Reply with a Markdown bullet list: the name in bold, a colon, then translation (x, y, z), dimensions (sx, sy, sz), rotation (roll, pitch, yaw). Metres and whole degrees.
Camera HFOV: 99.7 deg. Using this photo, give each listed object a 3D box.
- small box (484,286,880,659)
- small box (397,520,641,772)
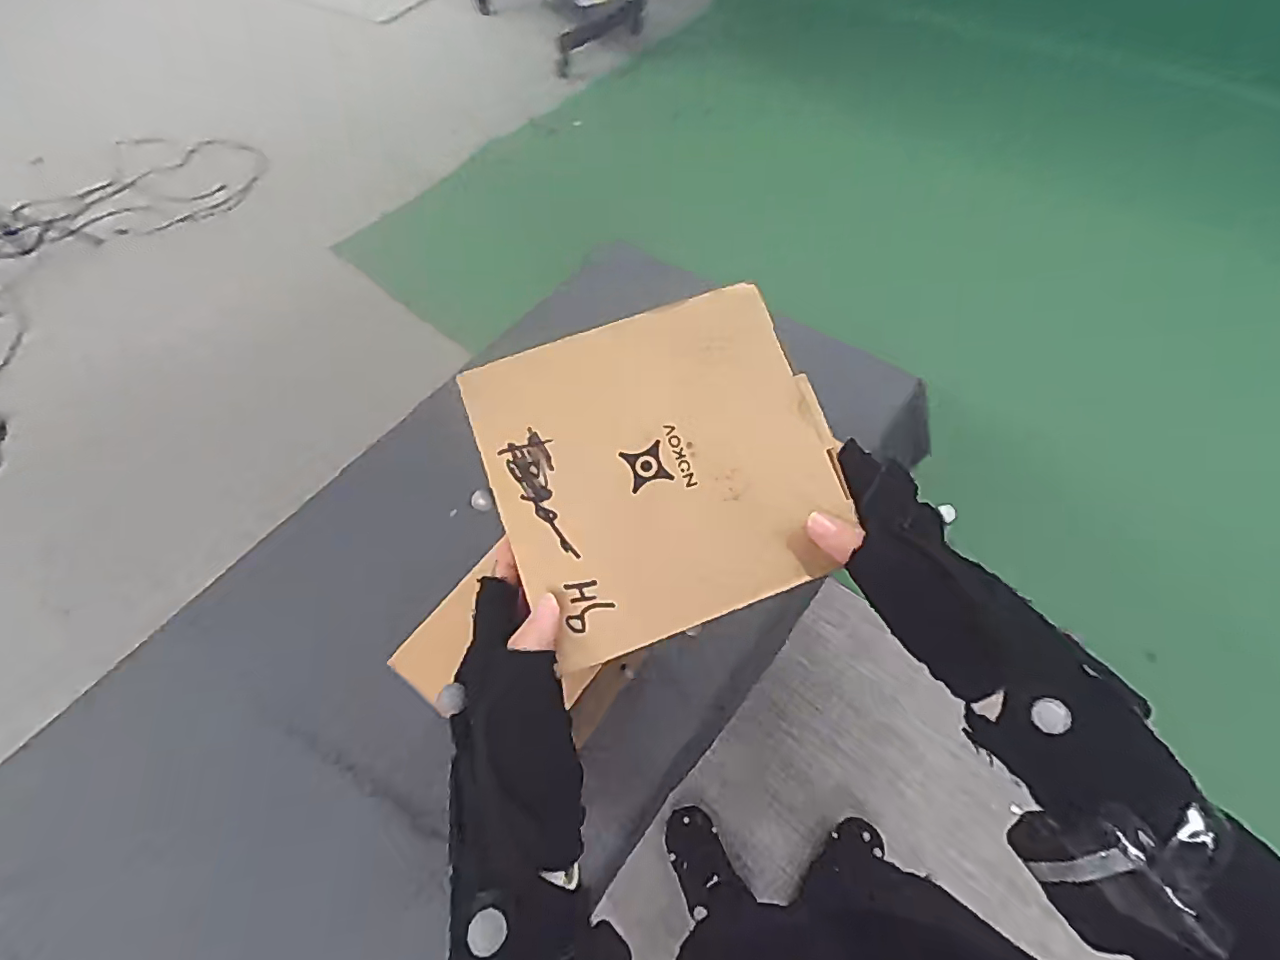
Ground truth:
- **small box**: translation (0.015, 0.005, 0.363), dimensions (0.179, 0.176, 0.168), rotation (-17, 78, -7)
- **small box**: translation (-0.110, 0.181, 0.577), dimensions (0.168, 0.176, 0.179), rotation (31, 67, 20)
